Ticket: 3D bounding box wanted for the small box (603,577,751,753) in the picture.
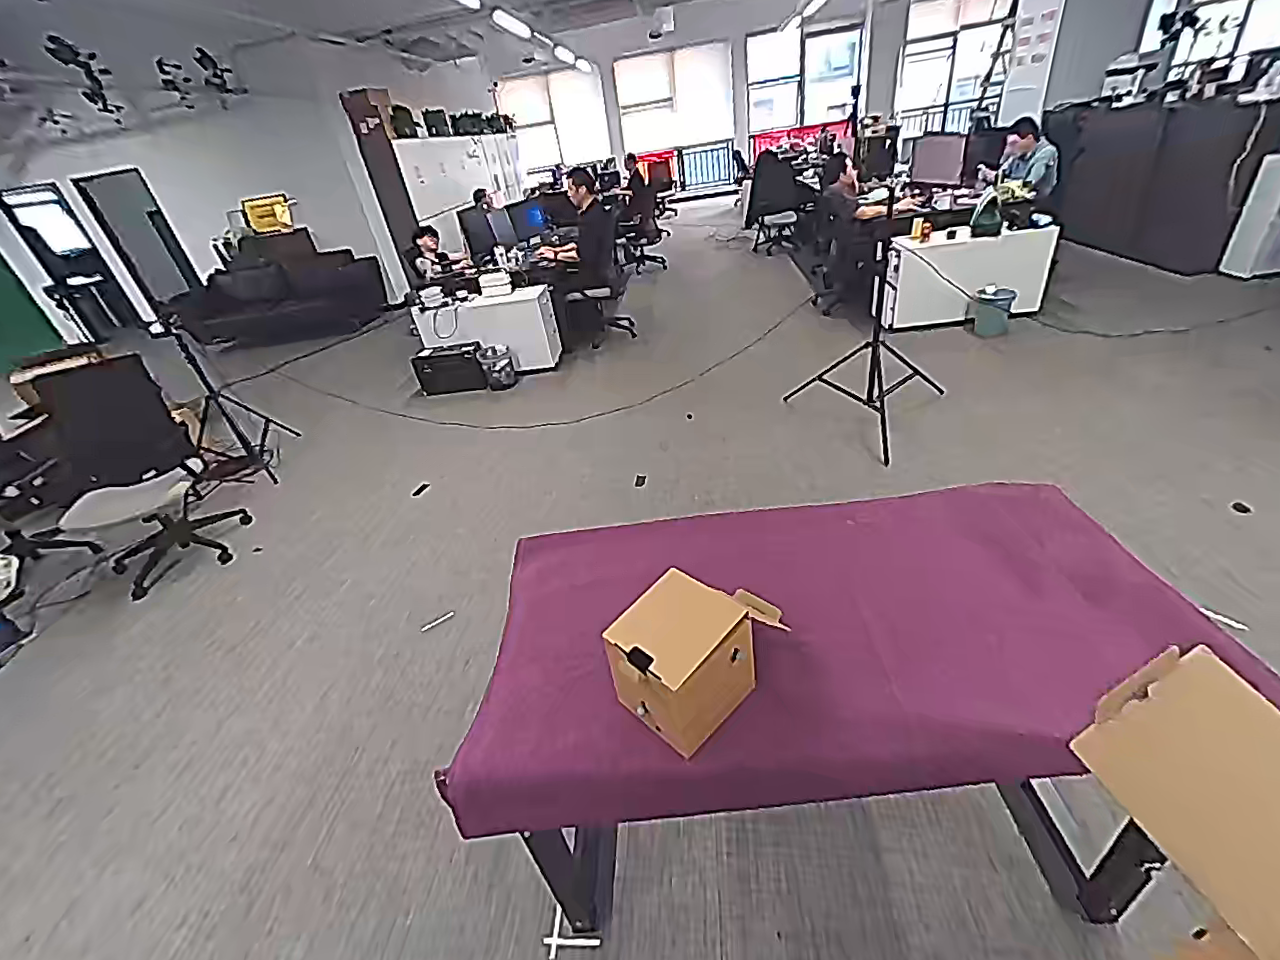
[{"bbox_3d":[0.066,0.299,0.891,0.179,0.176,0.168,-33,37,-32],"label":"small box"}]
